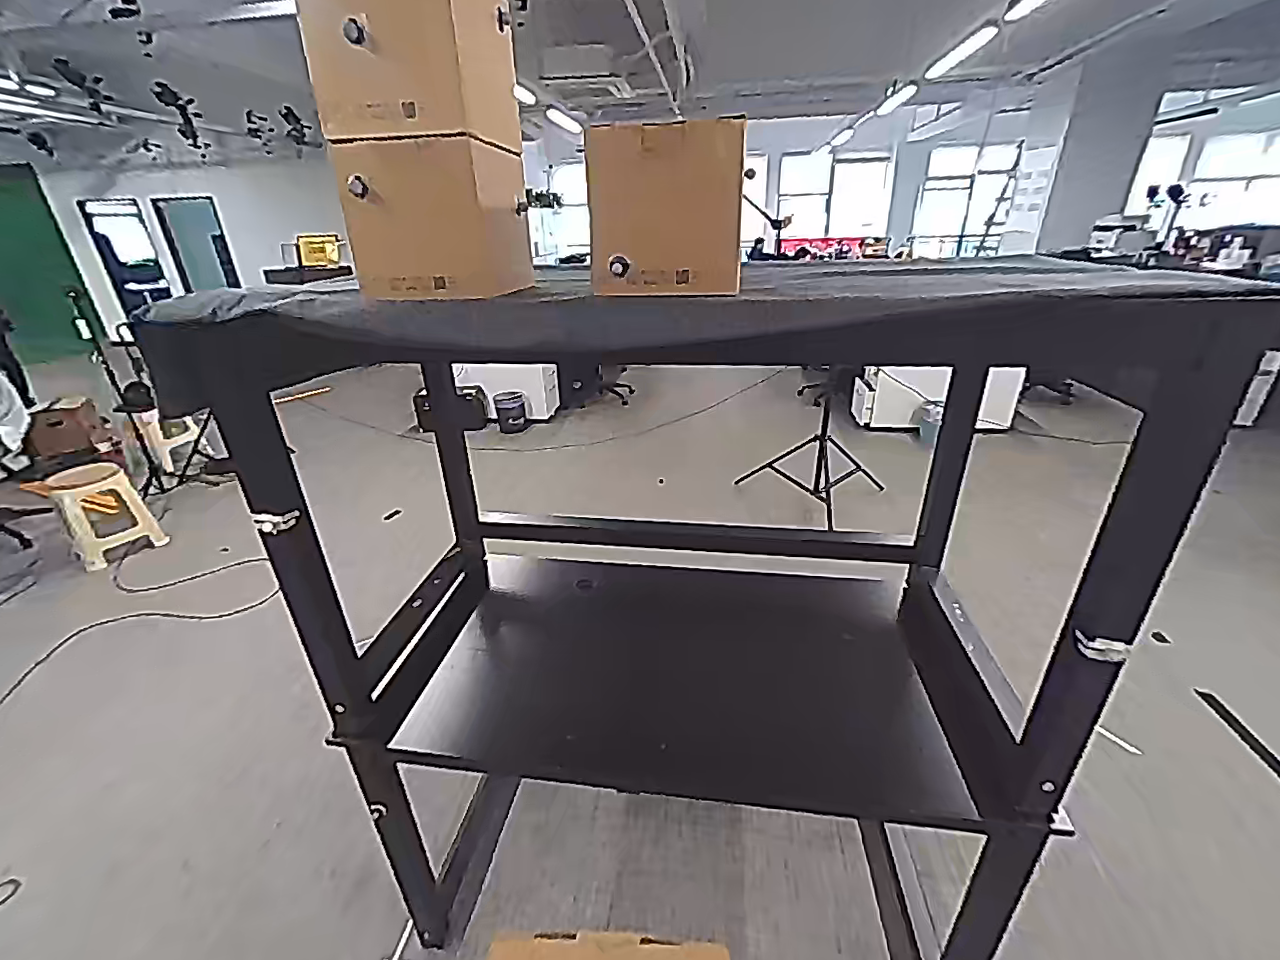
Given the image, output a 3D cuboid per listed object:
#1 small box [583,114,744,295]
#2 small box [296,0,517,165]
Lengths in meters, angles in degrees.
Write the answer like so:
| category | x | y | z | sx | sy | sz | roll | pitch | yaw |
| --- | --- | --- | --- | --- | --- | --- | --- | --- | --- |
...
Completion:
| category | x | y | z | sx | sy | sz | roll | pitch | yaw |
| --- | --- | --- | --- | --- | --- | --- | --- | --- | --- |
| small box | 0.038 | -0.315 | 0.646 | 0.168 | 0.176 | 0.179 | 3 | 23 | 9 |
| small box | -0.250 | -0.471 | 0.618 | 0.168 | 0.176 | 0.179 | 2 | 24 | 8 |
